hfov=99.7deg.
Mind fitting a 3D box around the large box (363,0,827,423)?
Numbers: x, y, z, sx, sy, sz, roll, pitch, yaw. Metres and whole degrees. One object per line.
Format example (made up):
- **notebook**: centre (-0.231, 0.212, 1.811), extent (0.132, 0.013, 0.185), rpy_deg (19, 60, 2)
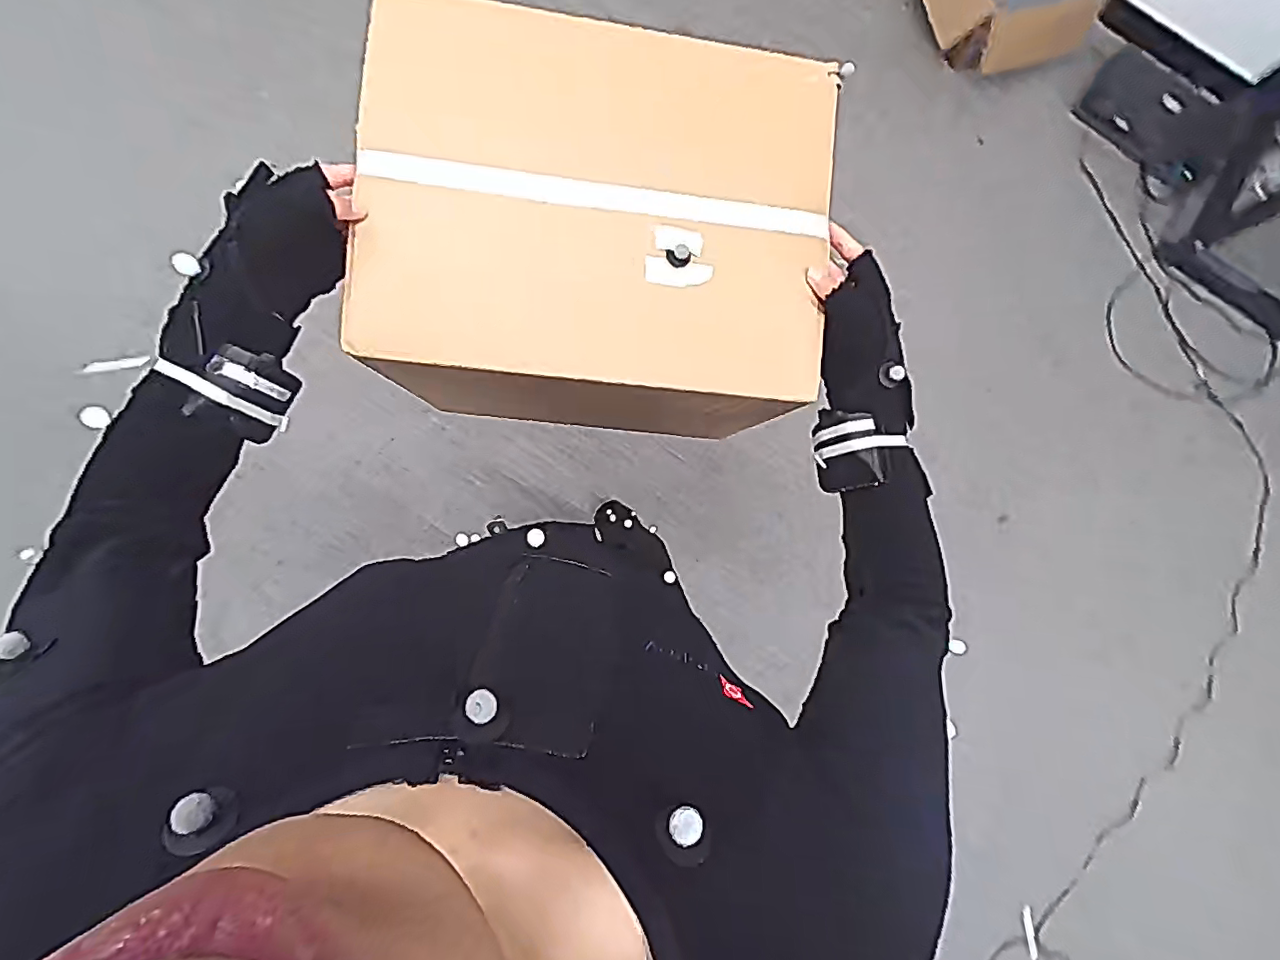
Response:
- **large box**: centre (-0.048, -0.248, 0.623), extent (0.408, 0.320, 0.320), rpy_deg (4, 89, -7)
